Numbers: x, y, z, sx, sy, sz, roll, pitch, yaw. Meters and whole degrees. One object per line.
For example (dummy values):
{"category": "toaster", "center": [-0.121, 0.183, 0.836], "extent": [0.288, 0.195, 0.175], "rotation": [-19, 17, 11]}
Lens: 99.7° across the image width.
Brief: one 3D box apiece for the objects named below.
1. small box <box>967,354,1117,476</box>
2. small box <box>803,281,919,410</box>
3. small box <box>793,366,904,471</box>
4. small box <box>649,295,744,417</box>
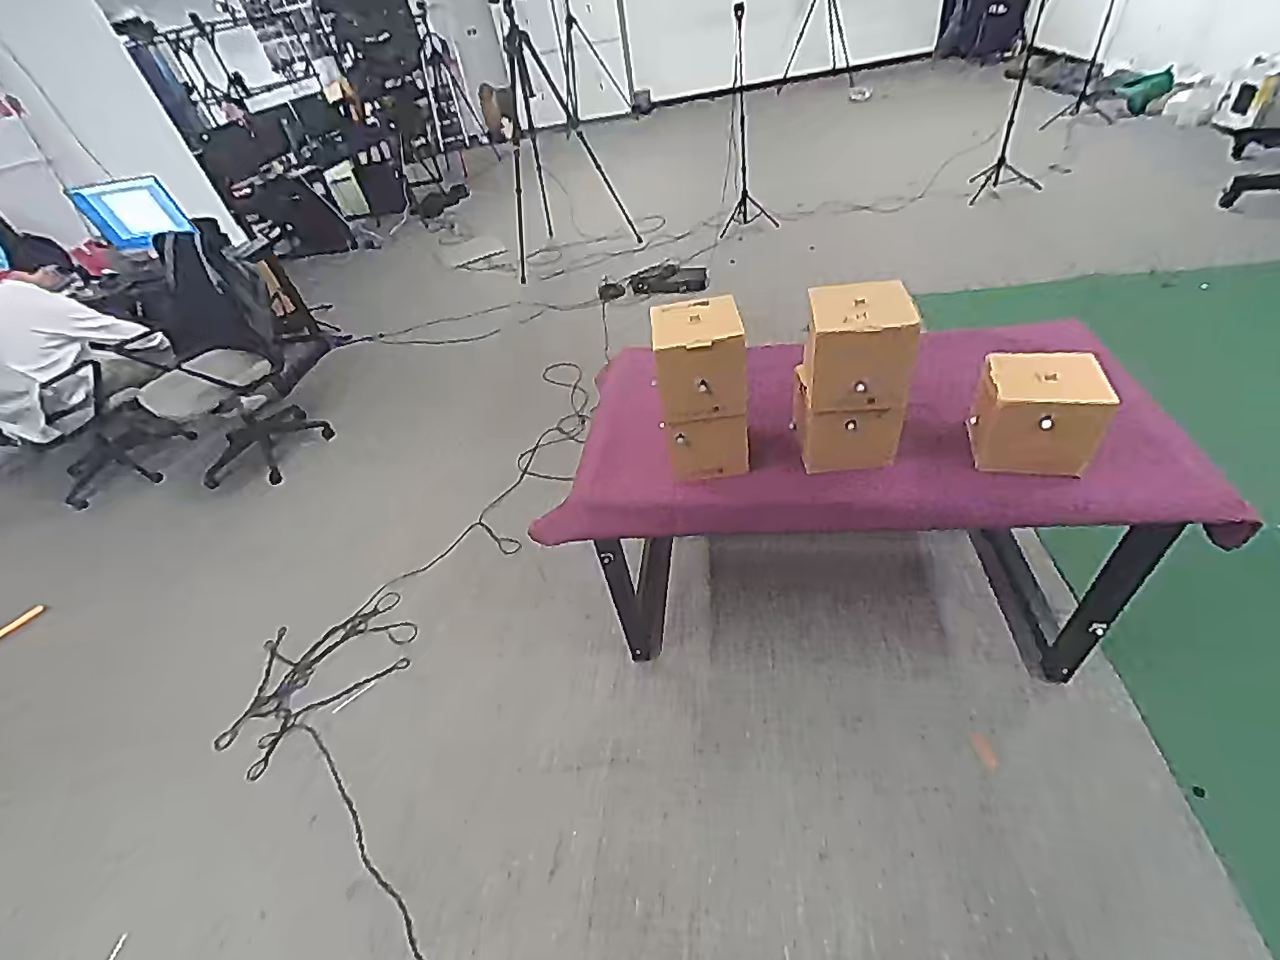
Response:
{"category": "small box", "center": [0.747, -0.123, 1.028], "extent": [0.179, 0.176, 0.168], "rotation": [4, 43, 20]}
{"category": "small box", "center": [0.396, -0.247, 1.003], "extent": [0.168, 0.176, 0.179], "rotation": [-1, 44, 12]}
{"category": "small box", "center": [0.420, -0.133, 1.119], "extent": [0.179, 0.176, 0.168], "rotation": [-6, 42, 6]}
{"category": "small box", "center": [0.111, -0.235, 1.057], "extent": [0.168, 0.176, 0.179], "rotation": [-6, 43, 5]}
